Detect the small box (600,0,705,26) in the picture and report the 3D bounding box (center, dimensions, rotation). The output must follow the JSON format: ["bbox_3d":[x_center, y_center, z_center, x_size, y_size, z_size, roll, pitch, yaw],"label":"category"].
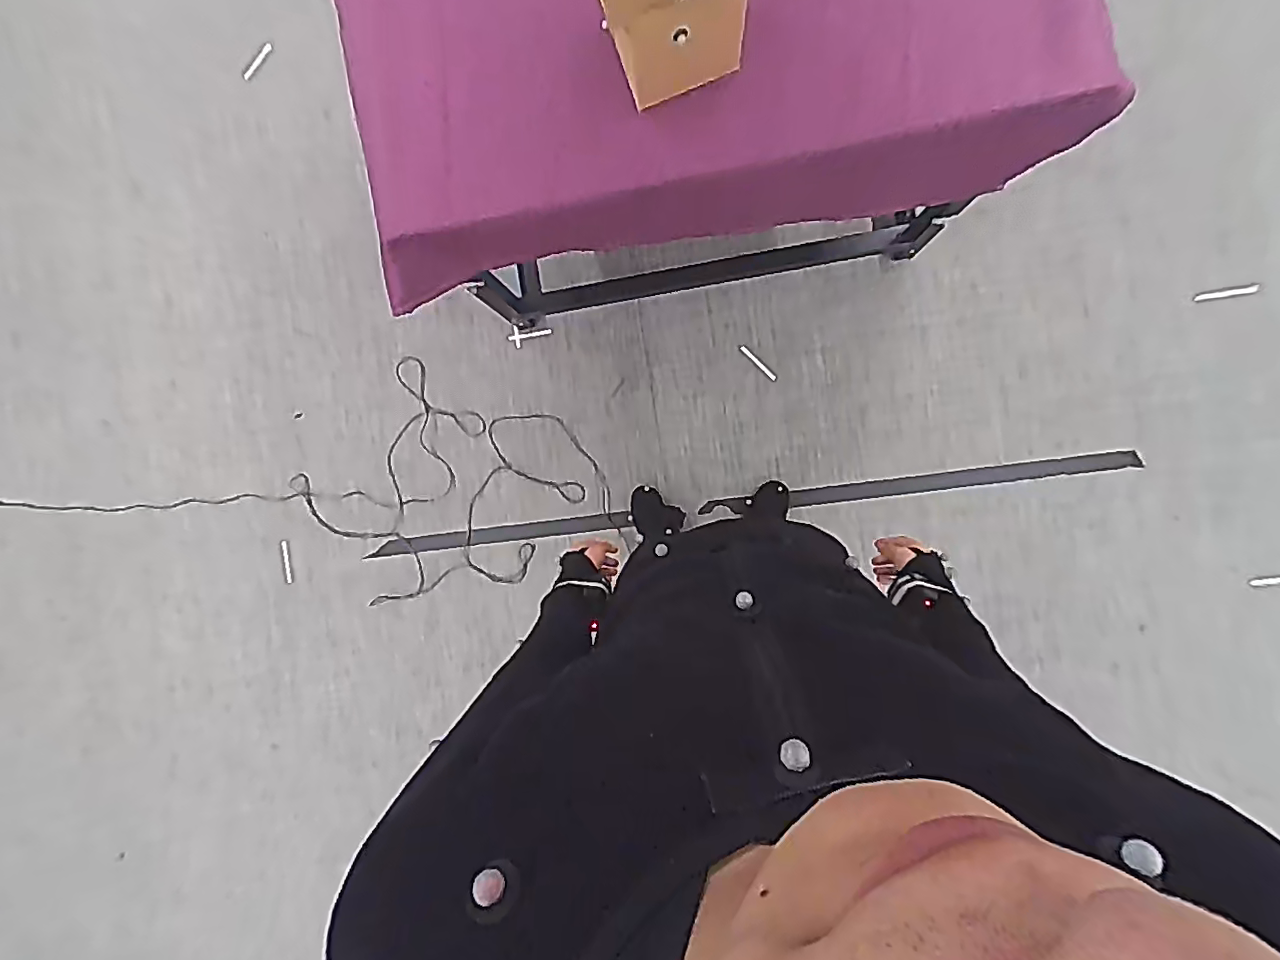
[{"bbox_3d":[0.005,-0.713,0.648,0.168,0.176,0.179,-14,90,6],"label":"small box"}]

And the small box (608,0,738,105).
[{"bbox_3d":[0.042,-0.714,0.810,0.179,0.176,0.168,-19,90,5],"label":"small box"}]
